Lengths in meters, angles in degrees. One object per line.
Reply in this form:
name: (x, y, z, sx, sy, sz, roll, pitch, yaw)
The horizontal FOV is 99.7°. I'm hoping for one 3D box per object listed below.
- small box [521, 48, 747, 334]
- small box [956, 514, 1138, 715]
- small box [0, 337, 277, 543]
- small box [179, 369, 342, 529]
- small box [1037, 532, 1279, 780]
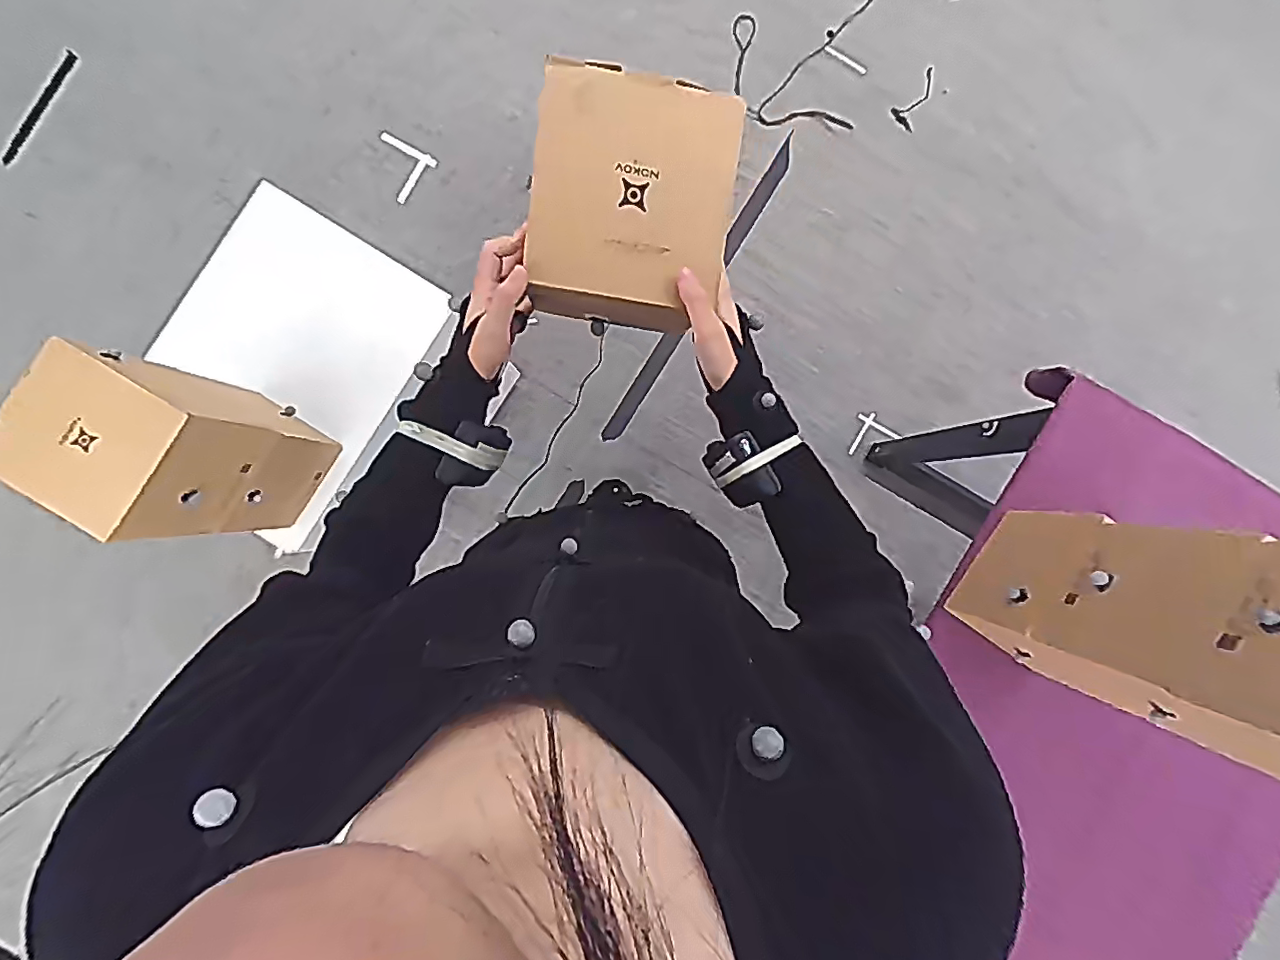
small box: (-0.015, -0.247, 0.512, 0.168, 0.176, 0.179, 7, 98, -8)
small box: (0.559, 0.161, 0.710, 0.168, 0.176, 0.179, 35, 88, 0)
small box: (-0.603, -0.043, 0.663, 0.179, 0.176, 0.168, 31, 88, 0)
small box: (-0.609, -0.038, 0.826, 0.179, 0.176, 0.168, 32, 87, 1)
small box: (0.569, 0.164, 0.546, 0.179, 0.176, 0.168, 34, 88, 1)
